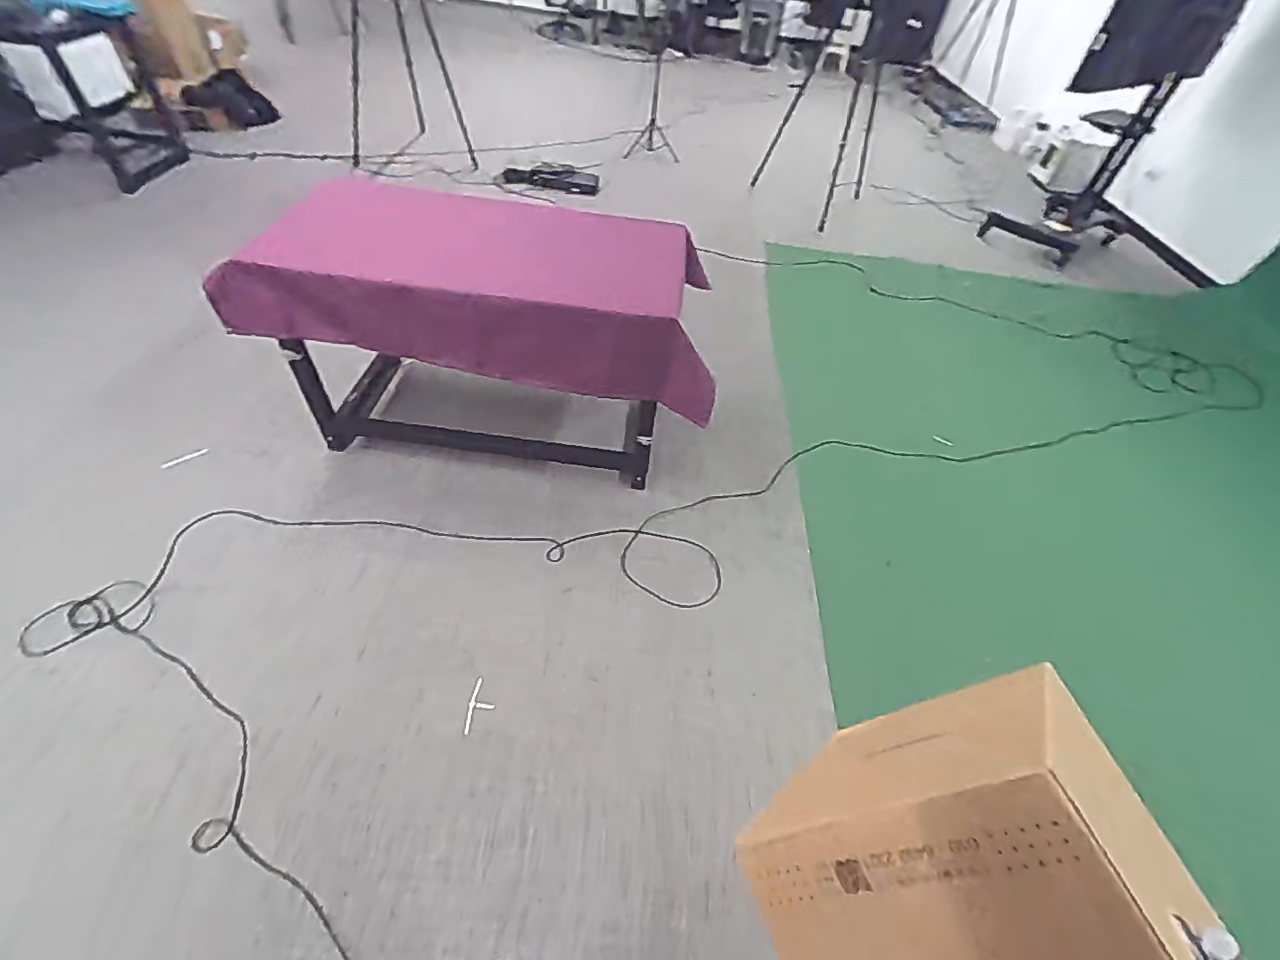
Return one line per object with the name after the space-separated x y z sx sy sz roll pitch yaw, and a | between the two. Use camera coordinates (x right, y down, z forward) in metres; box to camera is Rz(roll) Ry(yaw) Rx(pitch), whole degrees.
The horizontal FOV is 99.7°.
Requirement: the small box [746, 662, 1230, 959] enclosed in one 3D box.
0.188 0.225 0.304 0.179 0.168 0.176 3 57 -54 | small box
